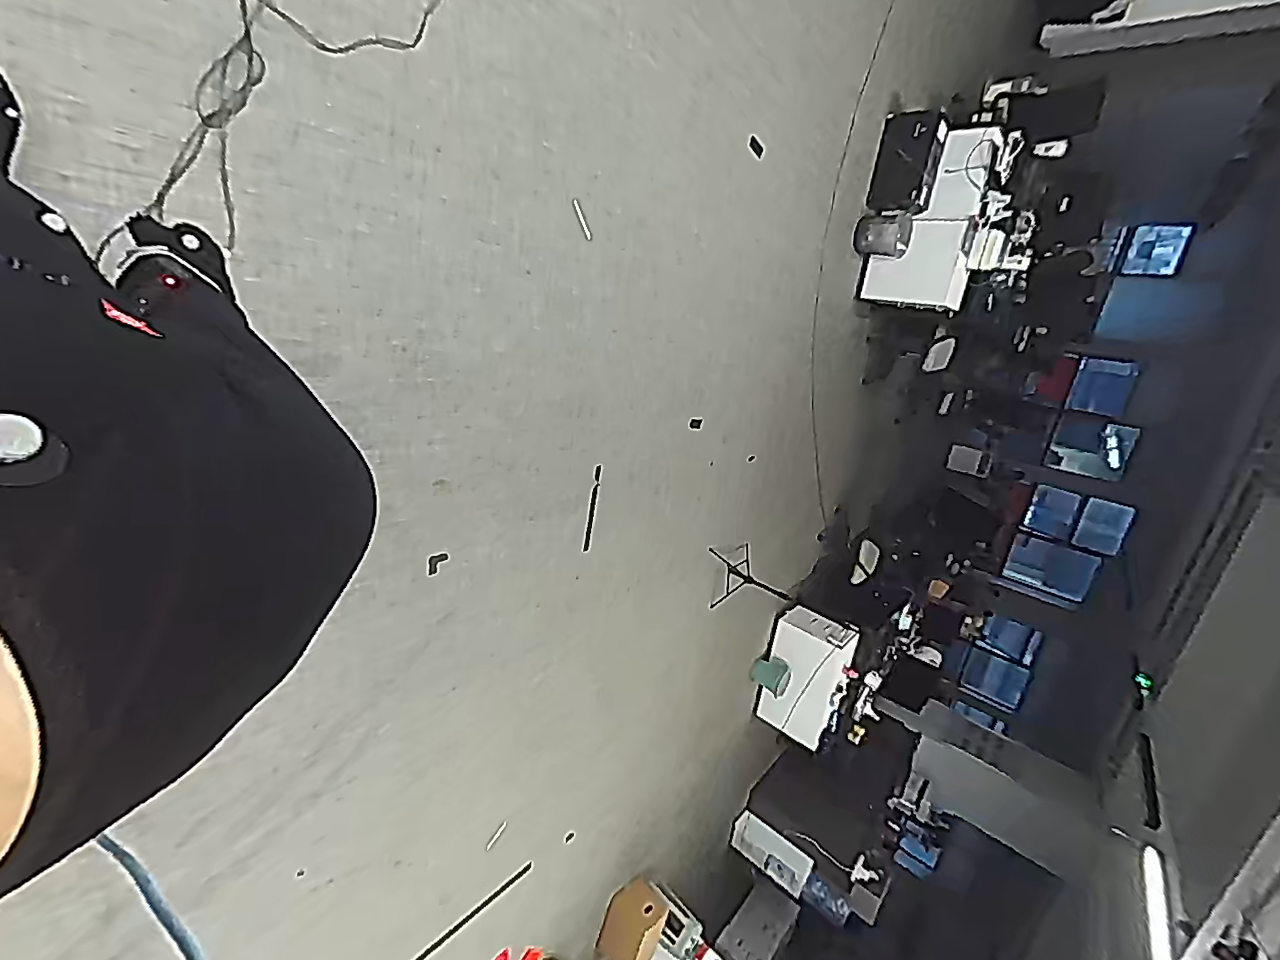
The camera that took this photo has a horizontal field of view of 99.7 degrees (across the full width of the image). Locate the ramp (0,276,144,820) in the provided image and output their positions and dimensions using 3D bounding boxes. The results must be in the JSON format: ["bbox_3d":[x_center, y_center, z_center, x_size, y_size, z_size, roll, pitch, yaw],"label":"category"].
[{"bbox_3d":[-1.239,0.158,0.904,0.509,0.206,0.991,-14,117,-47],"label":"ramp"}]
